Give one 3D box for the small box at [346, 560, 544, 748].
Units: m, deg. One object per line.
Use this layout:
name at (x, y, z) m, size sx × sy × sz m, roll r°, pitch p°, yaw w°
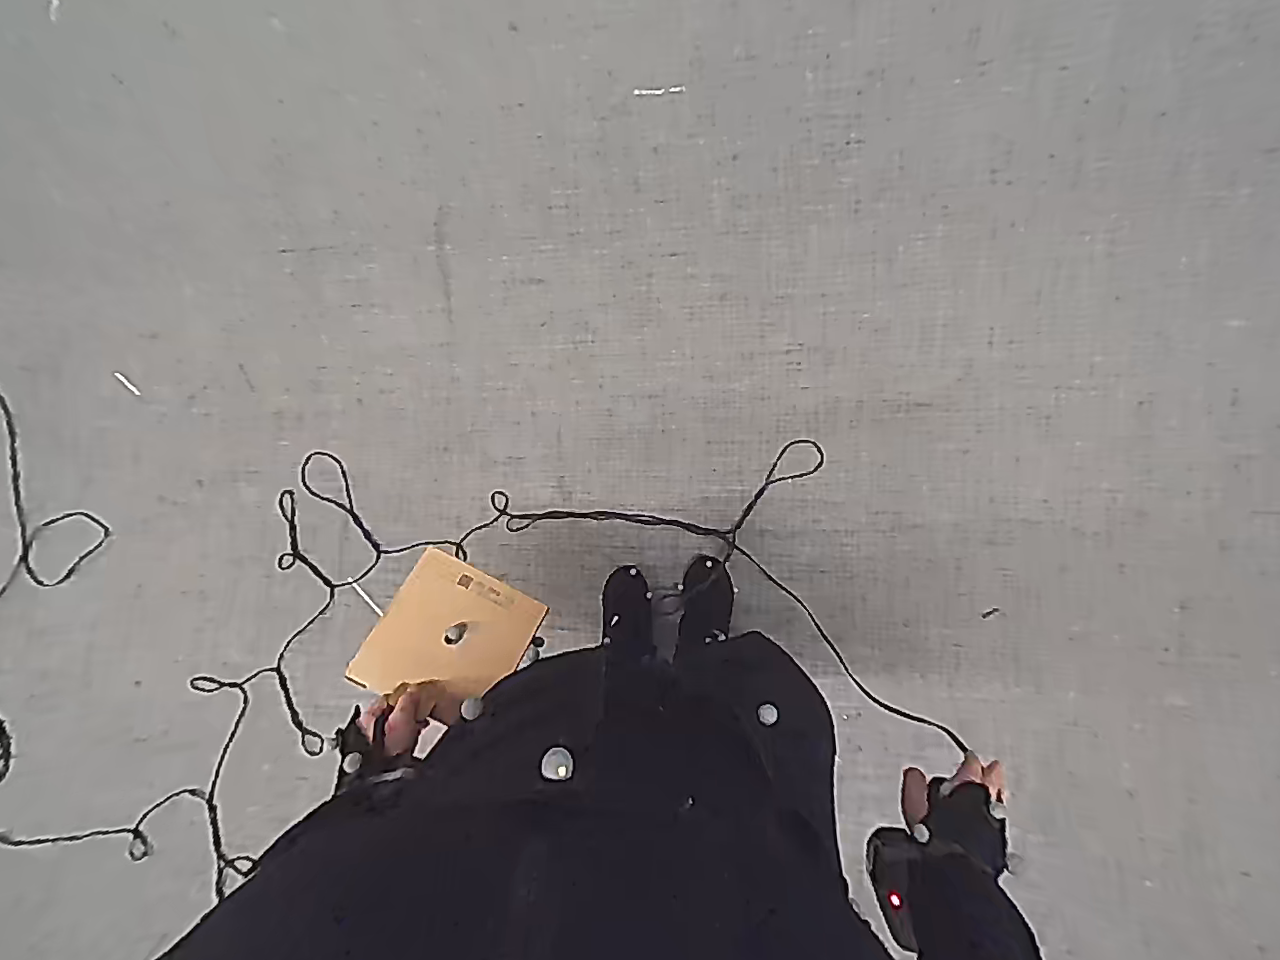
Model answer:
small box at (-0.238, 0.220, 0.701) m, size 0.168 × 0.179 × 0.176 m, roll 29°, pitch 66°, yaw -3°
